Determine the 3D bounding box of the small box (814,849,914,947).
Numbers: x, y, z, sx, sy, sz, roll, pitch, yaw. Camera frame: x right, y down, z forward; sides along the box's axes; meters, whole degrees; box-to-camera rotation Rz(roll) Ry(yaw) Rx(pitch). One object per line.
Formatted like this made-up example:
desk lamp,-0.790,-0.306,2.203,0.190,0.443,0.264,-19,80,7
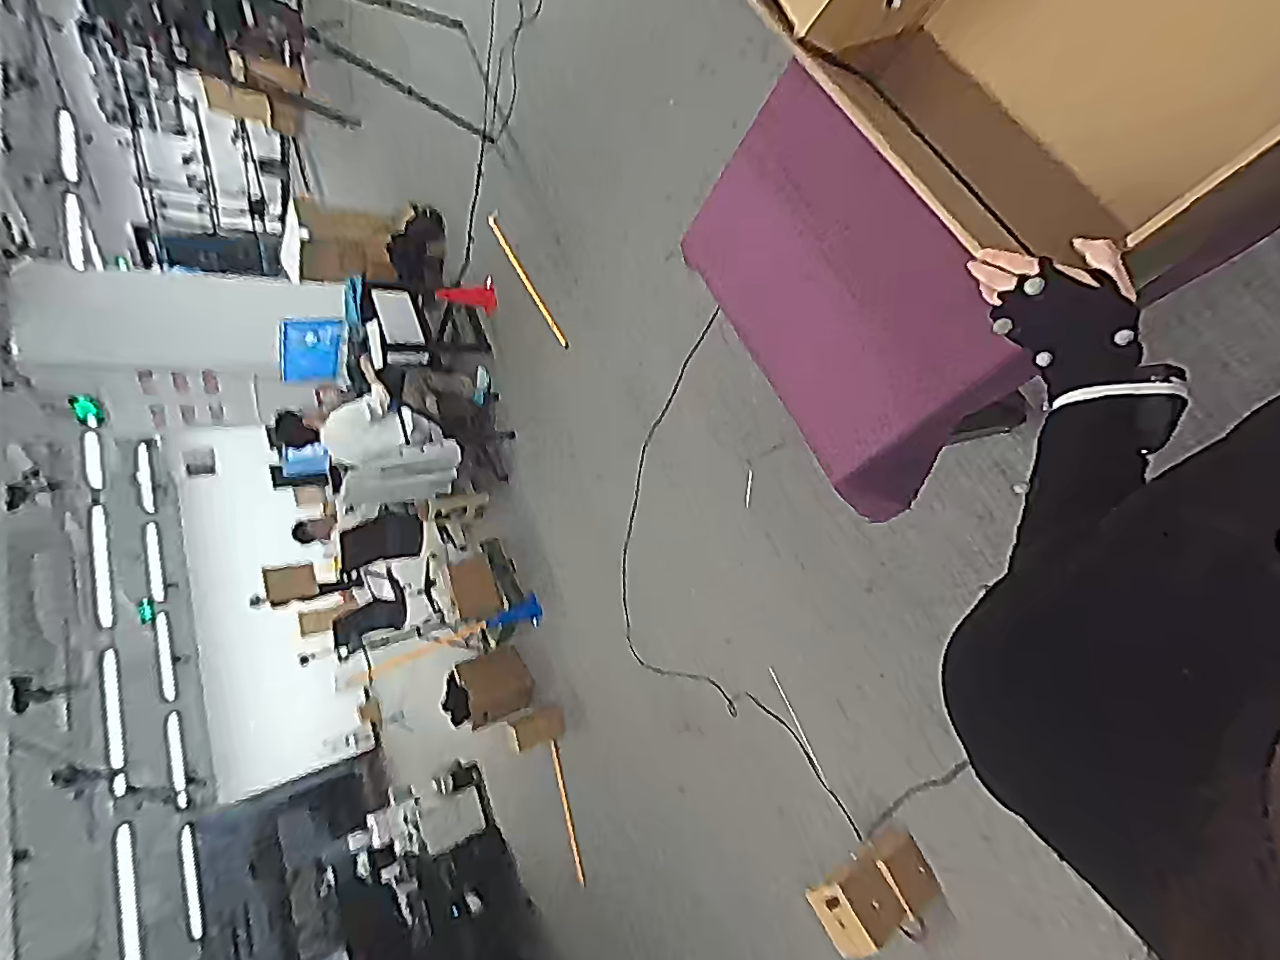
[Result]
small box,0.670,1.243,1.619,0.179,0.176,0.168,56,138,28
